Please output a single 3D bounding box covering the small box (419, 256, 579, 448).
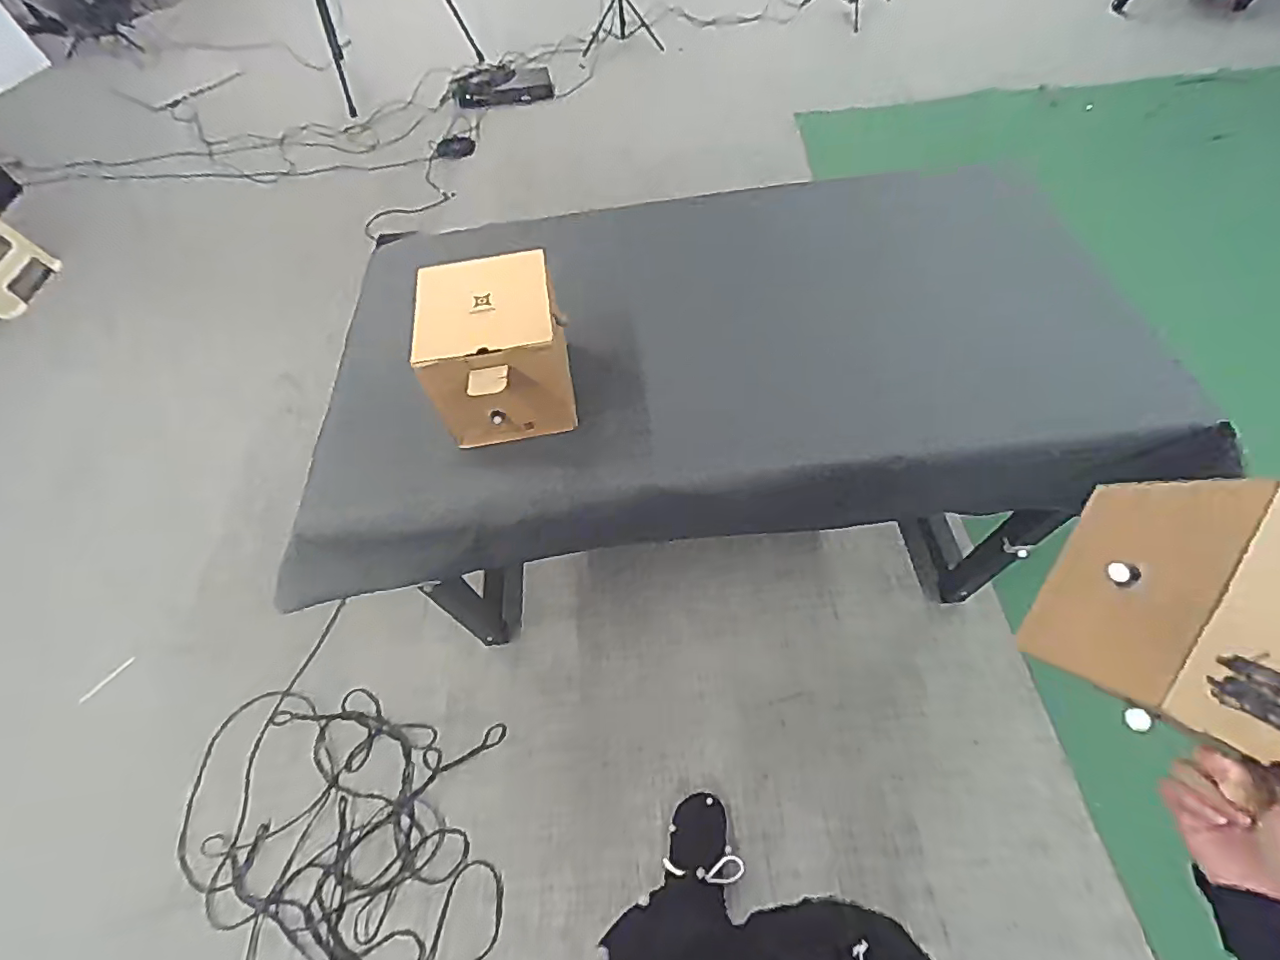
[{"bbox_3d":[-0.181,-0.168,0.730,0.168,0.176,0.179,-10,58,-2],"label":"small box"}]
